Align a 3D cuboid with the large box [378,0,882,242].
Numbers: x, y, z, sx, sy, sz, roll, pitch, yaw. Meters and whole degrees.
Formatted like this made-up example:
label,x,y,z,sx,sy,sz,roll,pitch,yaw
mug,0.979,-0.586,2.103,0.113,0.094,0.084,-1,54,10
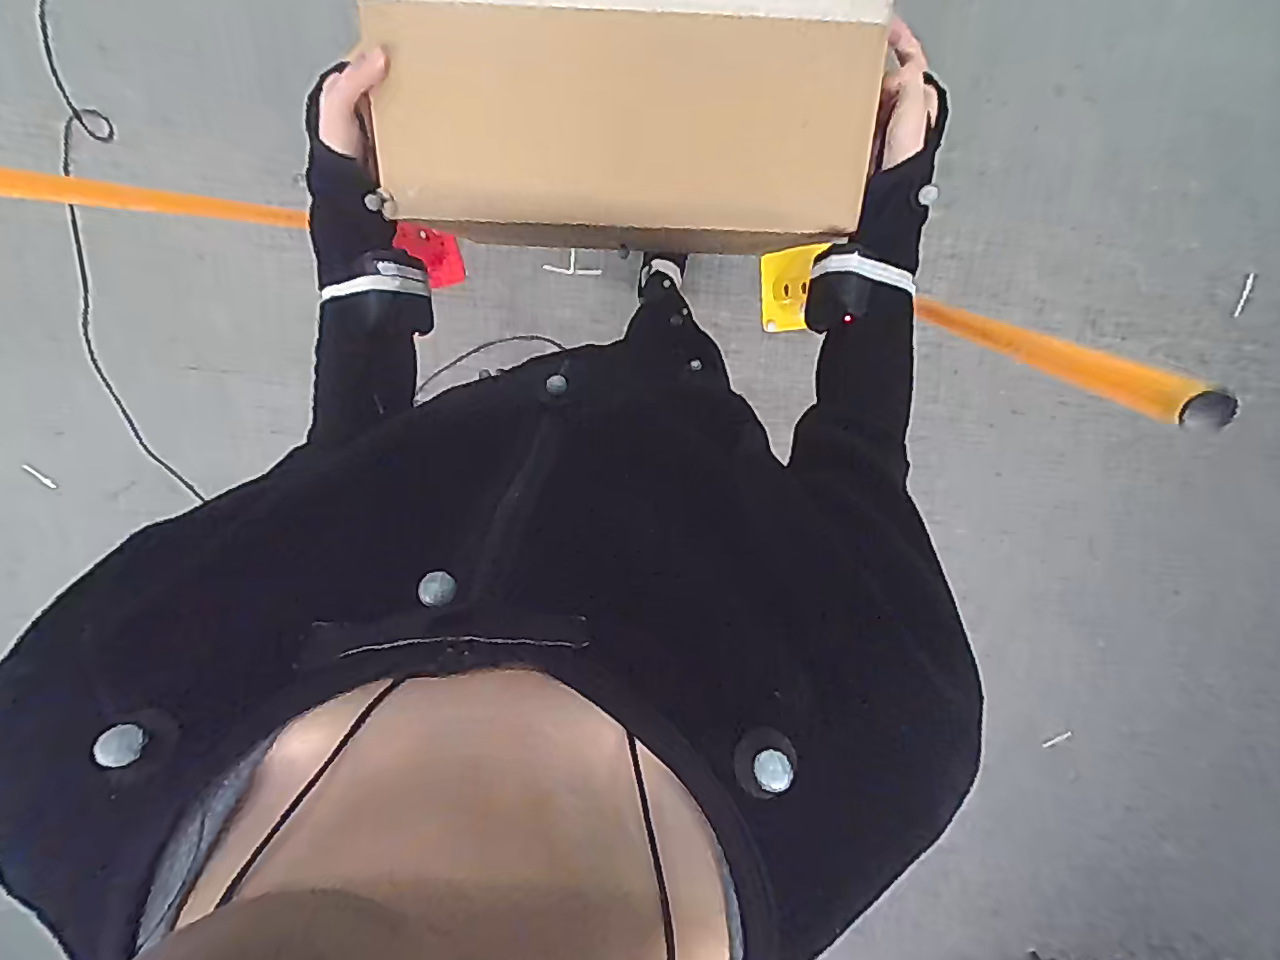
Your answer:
label,x,y,z,sx,sy,sz,roll,pitch,yaw
large box,-0.008,-0.425,0.563,0.408,0.320,0.320,1,109,-2
